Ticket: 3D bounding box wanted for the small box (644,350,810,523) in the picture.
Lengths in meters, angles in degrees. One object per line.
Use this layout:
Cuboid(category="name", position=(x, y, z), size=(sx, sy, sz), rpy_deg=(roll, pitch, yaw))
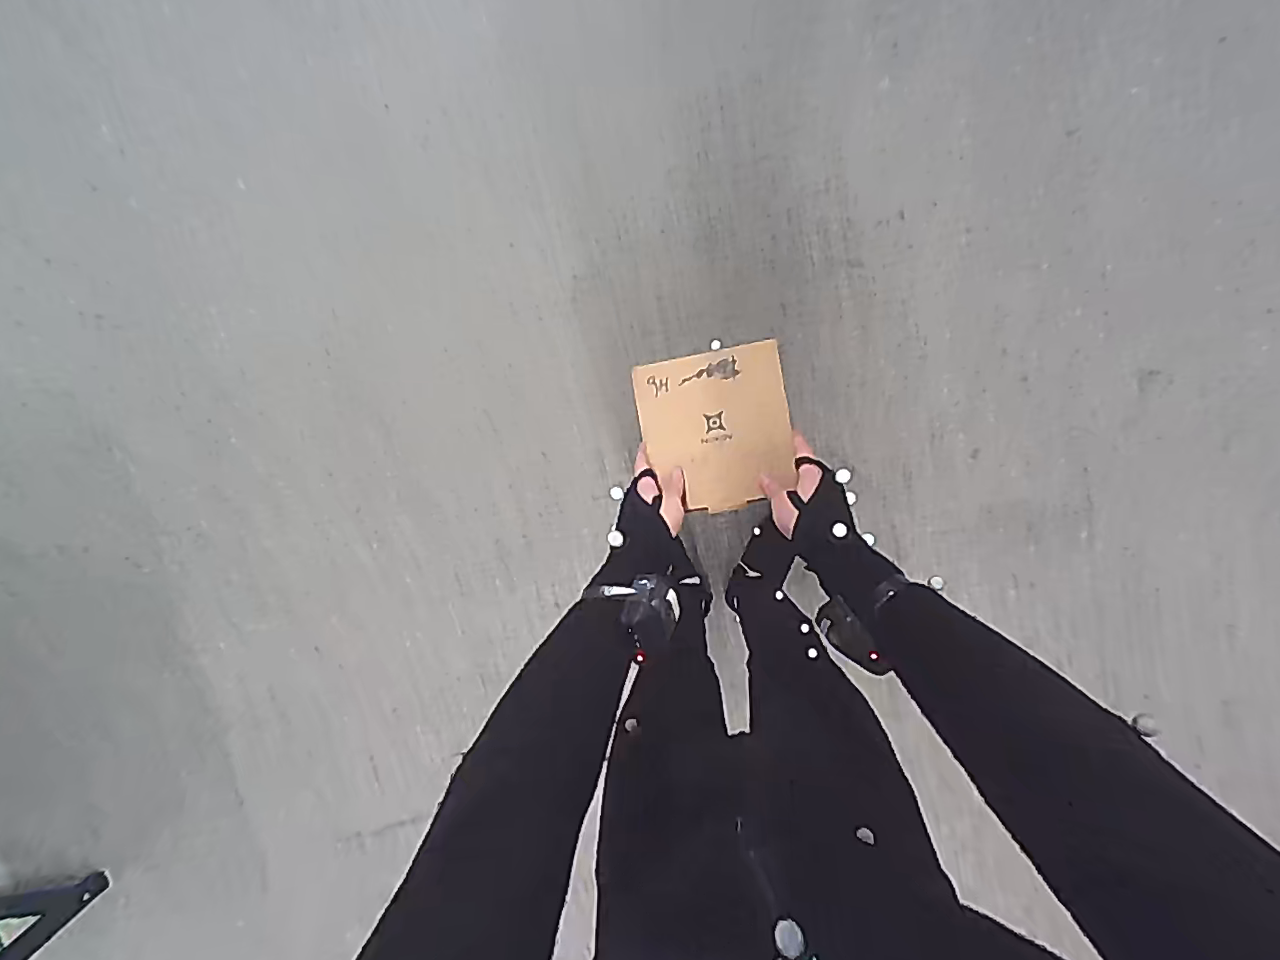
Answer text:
Cuboid(category="small box", position=(0.111, -0.055, 0.700), size=(0.168, 0.176, 0.179), rpy_deg=(-12, 92, 8))
